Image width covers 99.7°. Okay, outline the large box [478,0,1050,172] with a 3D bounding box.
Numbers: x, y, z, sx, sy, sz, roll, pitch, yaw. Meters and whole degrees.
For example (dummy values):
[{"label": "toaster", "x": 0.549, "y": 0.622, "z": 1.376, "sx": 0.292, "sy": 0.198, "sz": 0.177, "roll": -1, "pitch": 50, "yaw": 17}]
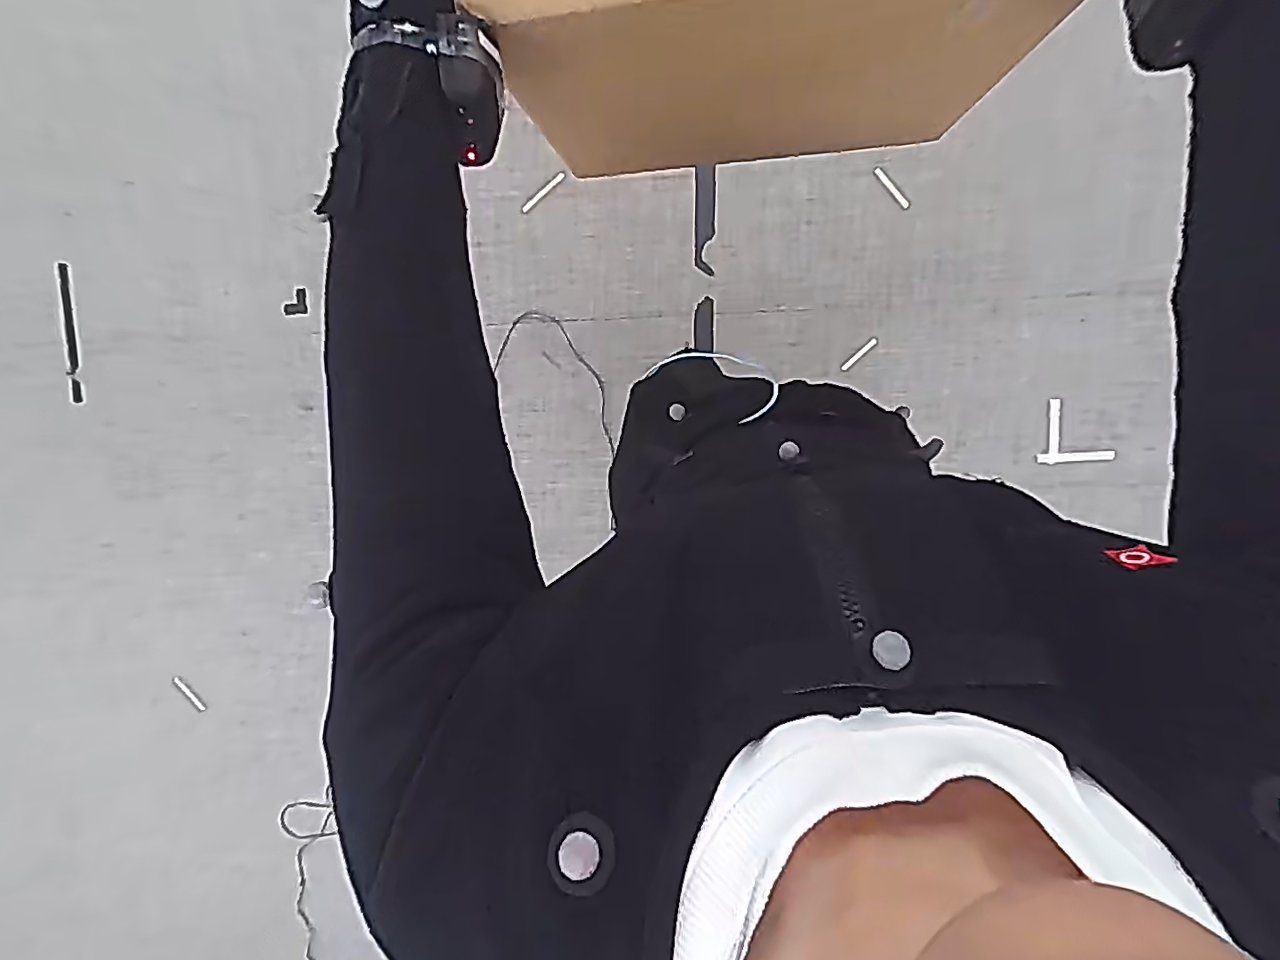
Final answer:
[{"label": "large box", "x": 0.094, "y": -0.488, "z": 0.438, "sx": 0.408, "sy": 0.320, "sz": 0.320, "roll": -3, "pitch": 103, "yaw": 7}]
